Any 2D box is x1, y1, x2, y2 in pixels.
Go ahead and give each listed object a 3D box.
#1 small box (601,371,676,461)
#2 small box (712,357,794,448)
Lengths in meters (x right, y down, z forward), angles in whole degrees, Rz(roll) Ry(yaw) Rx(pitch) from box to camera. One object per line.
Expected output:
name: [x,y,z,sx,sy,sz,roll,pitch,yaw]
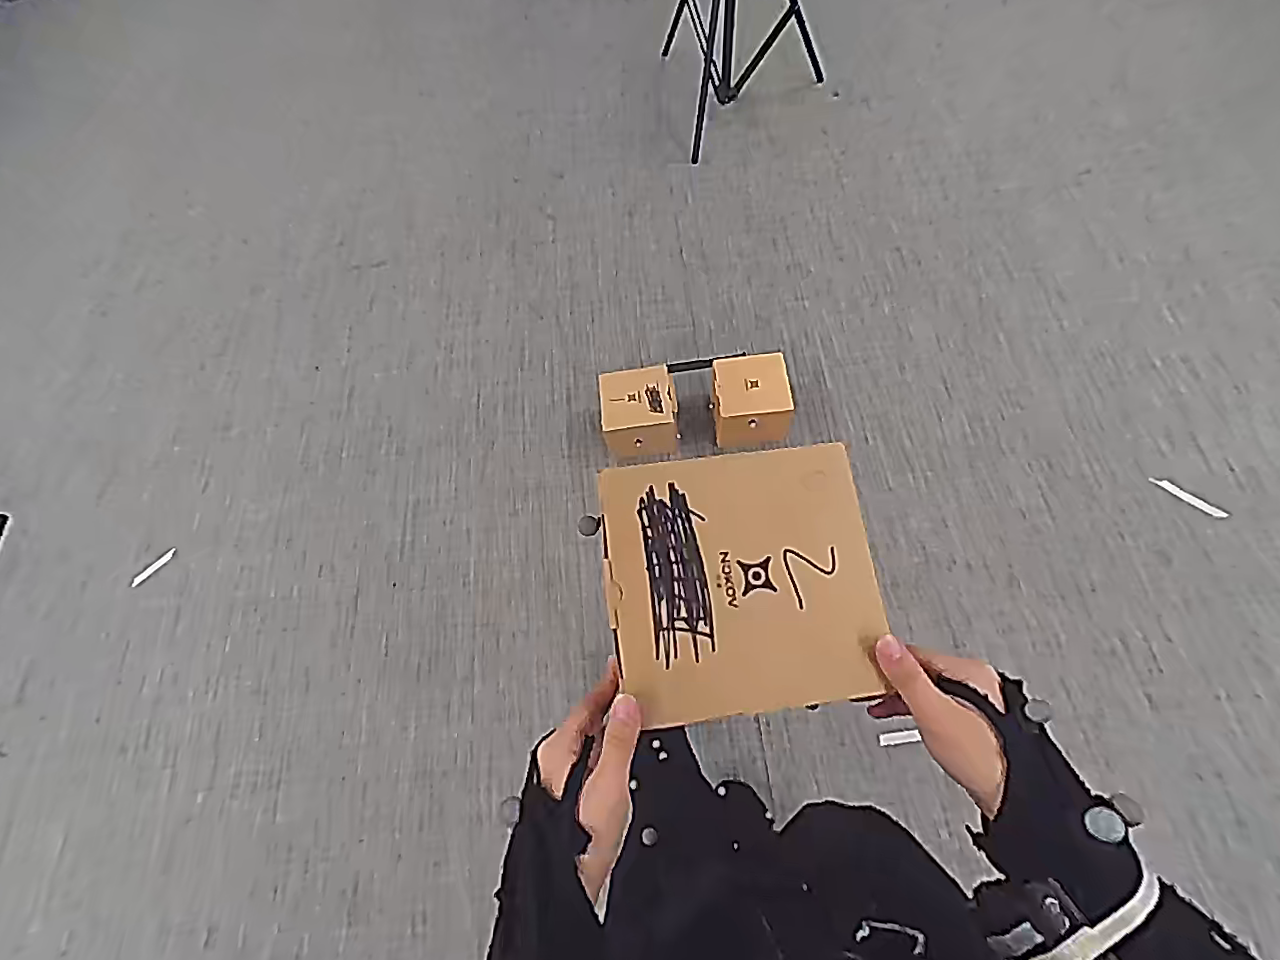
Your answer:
small box: [0.001,-0.161,1.406,0.179,0.176,0.168,-7,67,4]
small box: [0.283,-0.194,1.391,0.179,0.176,0.168,-6,67,4]
